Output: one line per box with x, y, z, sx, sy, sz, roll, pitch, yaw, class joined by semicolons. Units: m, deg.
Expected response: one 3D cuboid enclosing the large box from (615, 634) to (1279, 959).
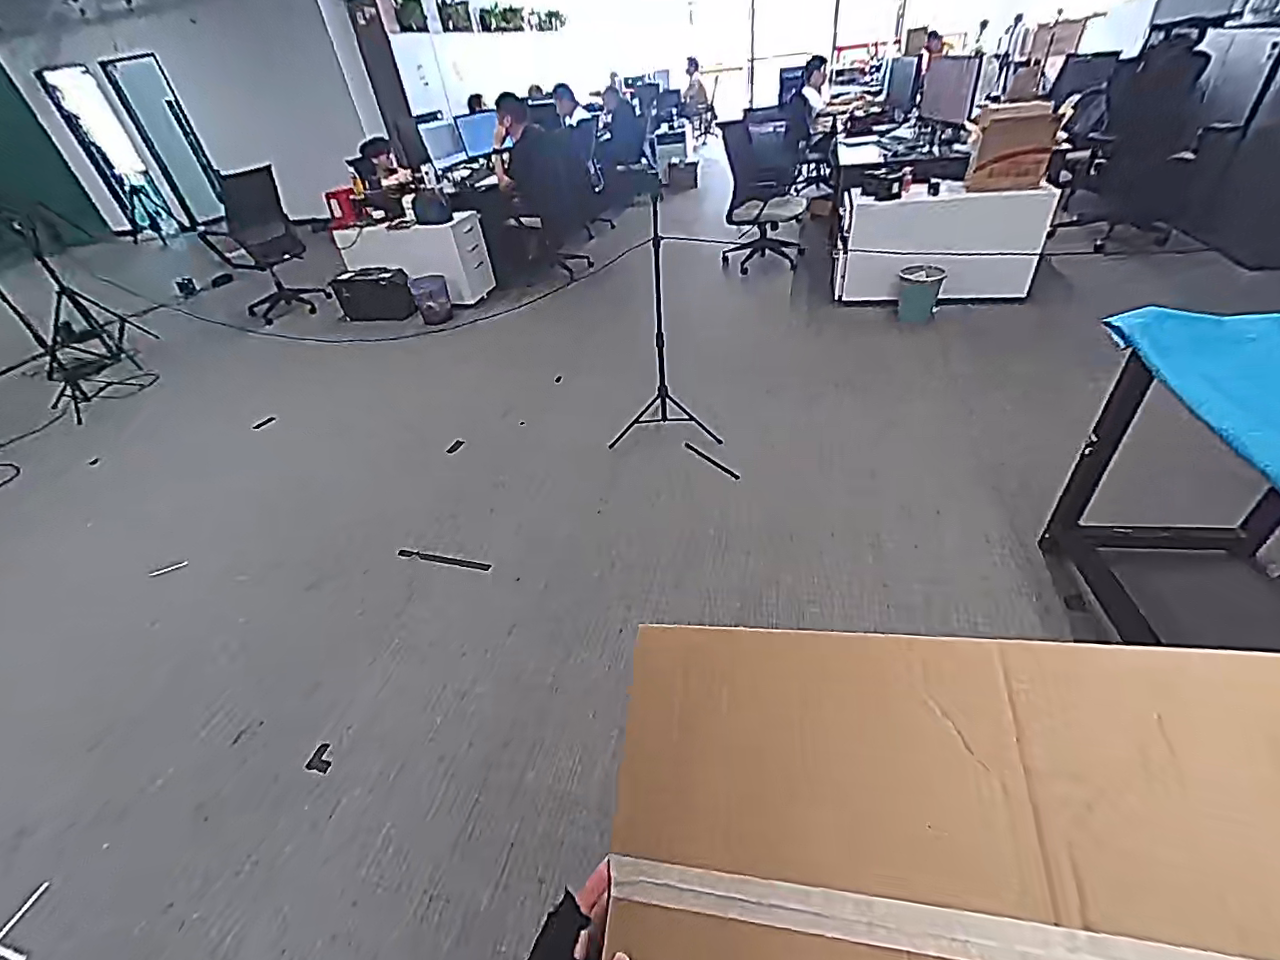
0.217;0.319;0.410;0.408;0.320;0.320;-2;60;17;large box
